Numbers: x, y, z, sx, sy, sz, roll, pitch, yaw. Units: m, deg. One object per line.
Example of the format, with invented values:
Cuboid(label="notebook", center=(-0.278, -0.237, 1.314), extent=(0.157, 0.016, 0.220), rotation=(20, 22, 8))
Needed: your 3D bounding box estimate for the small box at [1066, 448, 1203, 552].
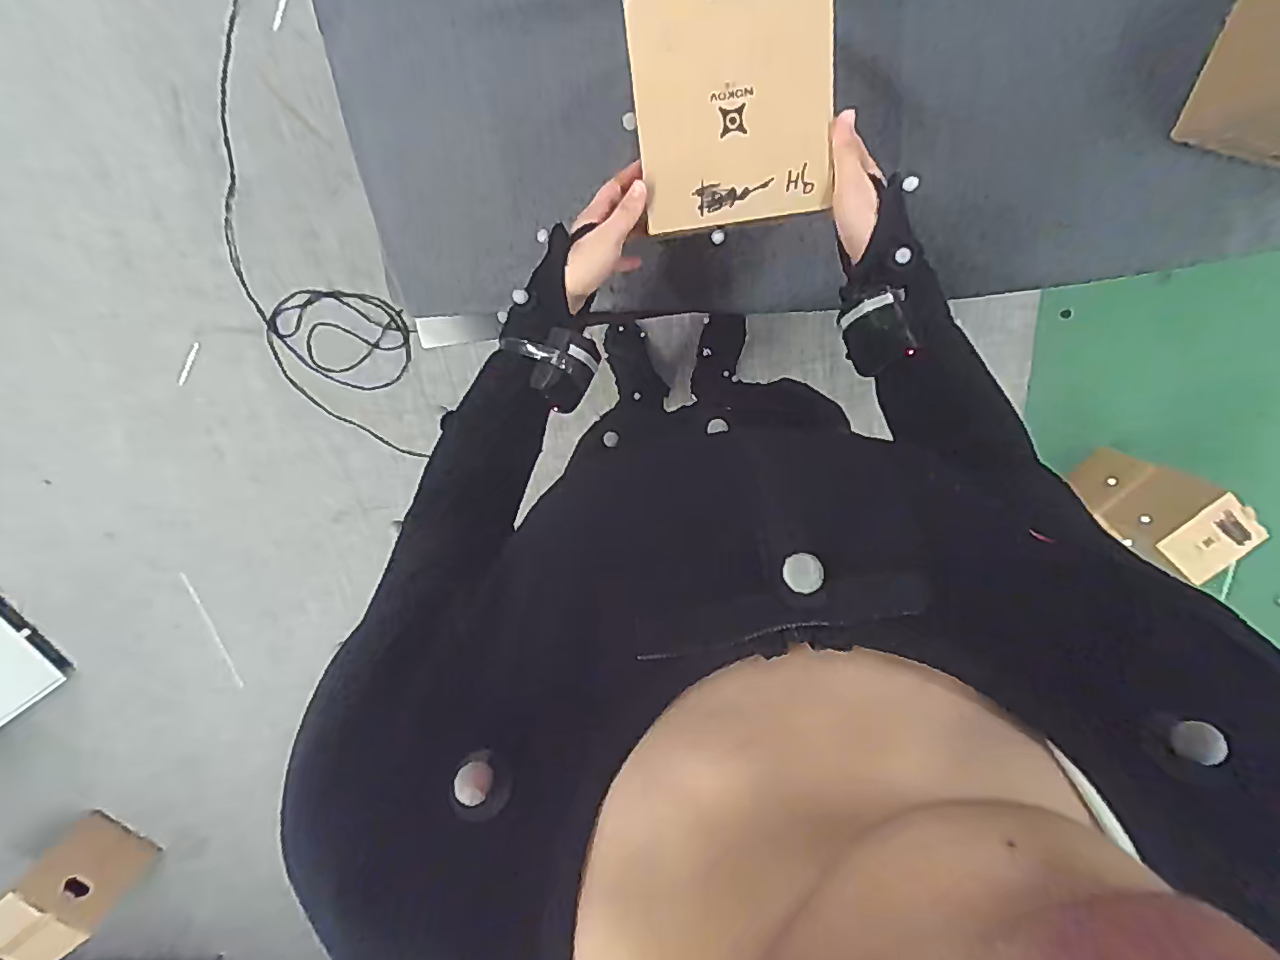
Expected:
Cuboid(label="small box", center=(1.263, 0.046, 1.404), extent=(0.168, 0.176, 0.179), rotation=(37, 108, -11))

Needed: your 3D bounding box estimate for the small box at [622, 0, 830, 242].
Cuboid(label="small box", center=(0.078, -0.335, 0.523), extent=(0.168, 0.176, 0.179), rotation=(-6, 113, 6))

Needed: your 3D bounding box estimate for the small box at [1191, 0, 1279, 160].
Cuboid(label="small box", center=(0.654, -0.392, 0.466), extent=(0.168, 0.176, 0.179), rotation=(13, 110, -2))
